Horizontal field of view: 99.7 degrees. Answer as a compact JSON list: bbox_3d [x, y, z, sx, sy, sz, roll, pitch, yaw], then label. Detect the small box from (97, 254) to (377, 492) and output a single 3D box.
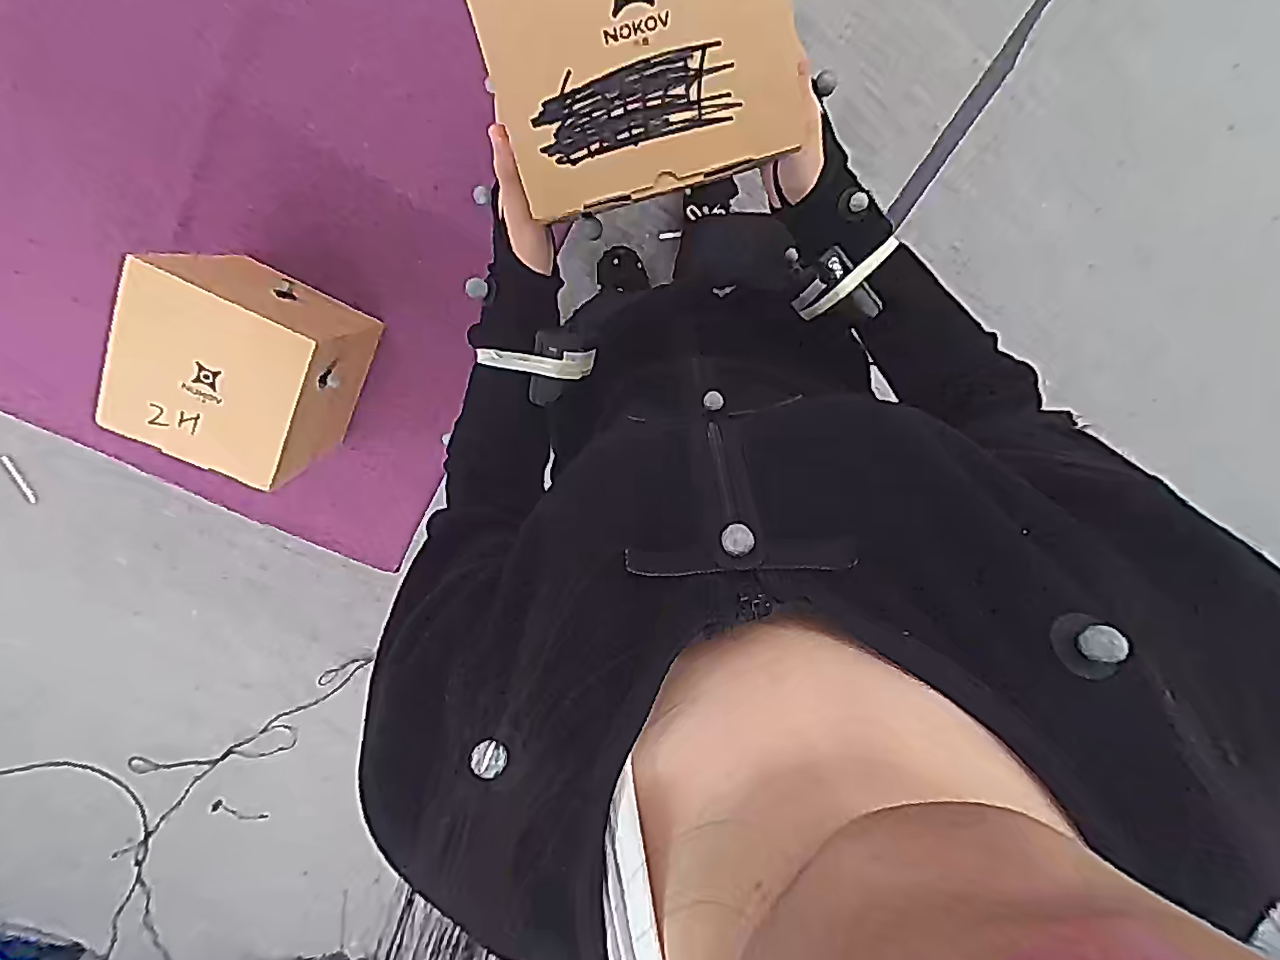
[{"bbox_3d":[-0.413,-0.122,0.585,0.168,0.176,0.179,26,108,-12],"label":"small box"}]
